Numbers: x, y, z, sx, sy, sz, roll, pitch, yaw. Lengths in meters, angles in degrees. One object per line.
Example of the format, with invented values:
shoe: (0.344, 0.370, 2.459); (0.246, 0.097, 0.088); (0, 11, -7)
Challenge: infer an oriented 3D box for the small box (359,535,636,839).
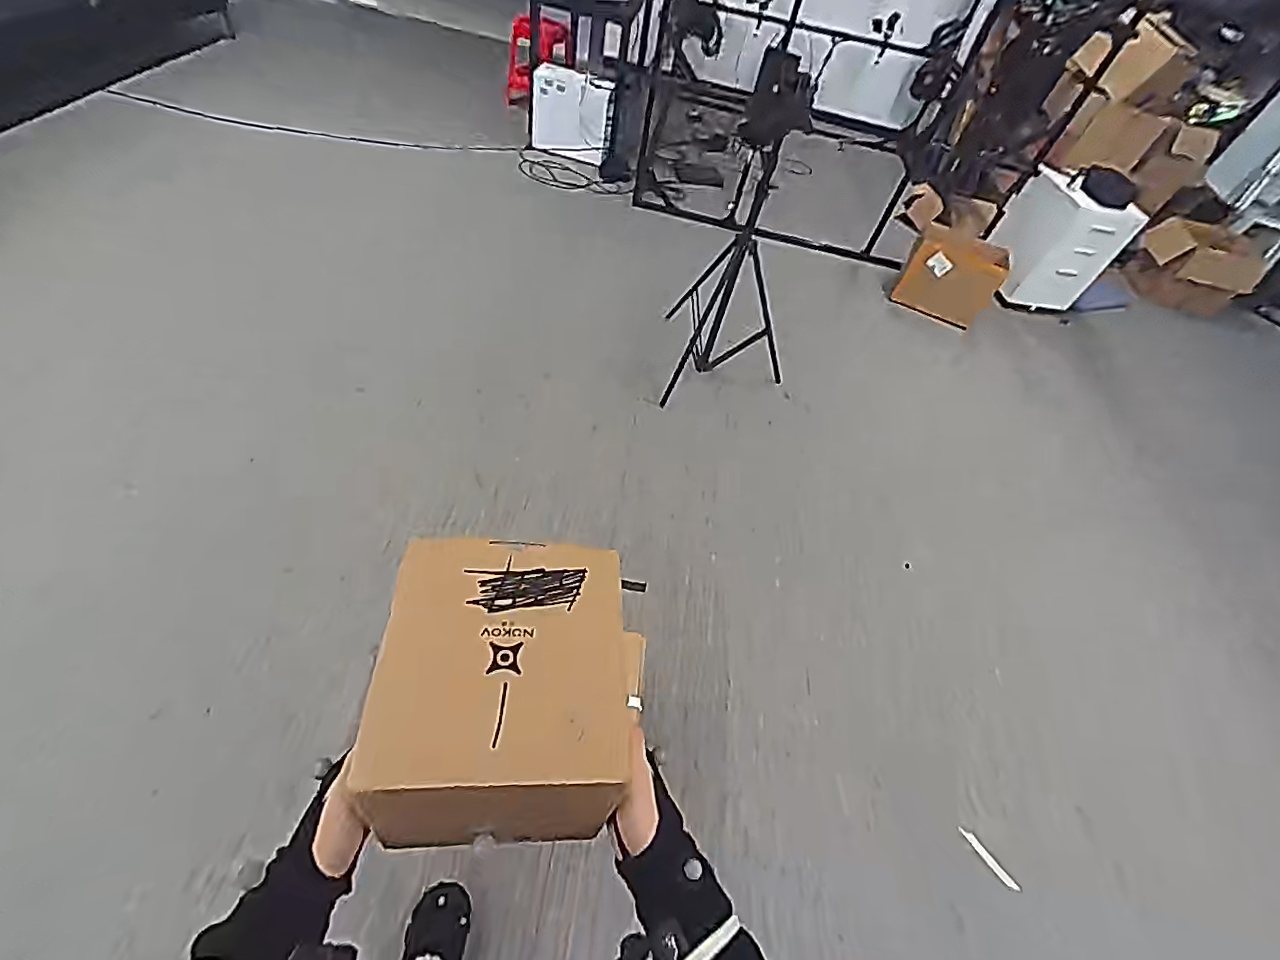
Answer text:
small box: (-0.103, 0.167, 0.434); (0.168, 0.176, 0.179); (4, 47, -11)
